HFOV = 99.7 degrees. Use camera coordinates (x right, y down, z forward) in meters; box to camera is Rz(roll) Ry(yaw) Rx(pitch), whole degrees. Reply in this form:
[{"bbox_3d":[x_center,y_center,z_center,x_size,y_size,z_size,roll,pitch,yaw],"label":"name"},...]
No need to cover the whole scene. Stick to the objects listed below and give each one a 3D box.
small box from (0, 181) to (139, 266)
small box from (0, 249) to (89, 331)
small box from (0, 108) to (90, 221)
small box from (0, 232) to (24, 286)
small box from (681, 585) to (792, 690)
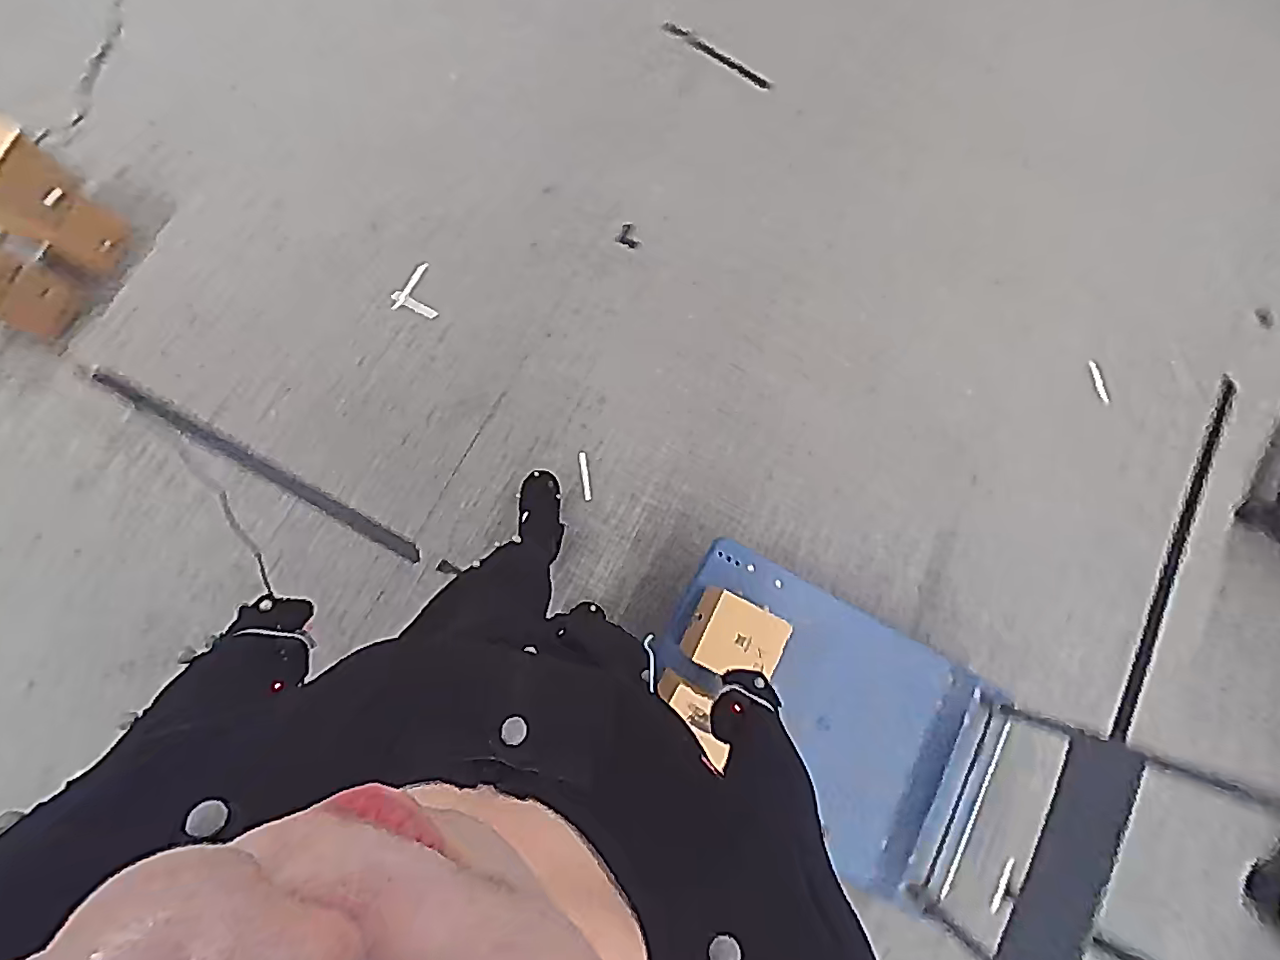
[{"bbox_3d":[-1.496,-0.695,1.416,0.179,0.176,0.168,21,80,-3],"label":"small box"},{"bbox_3d":[-1.595,-0.505,1.380,0.179,0.176,0.168,25,80,-1],"label":"small box"},{"bbox_3d":[-1.473,-0.744,1.259,0.179,0.176,0.168,22,80,-3],"label":"small box"},{"bbox_3d":[-1.583,-0.532,1.218,0.179,0.176,0.168,21,80,-3],"label":"small box"},{"bbox_3d":[0.213,0.353,1.243,0.179,0.176,0.168,28,80,-2],"label":"small box"}]
